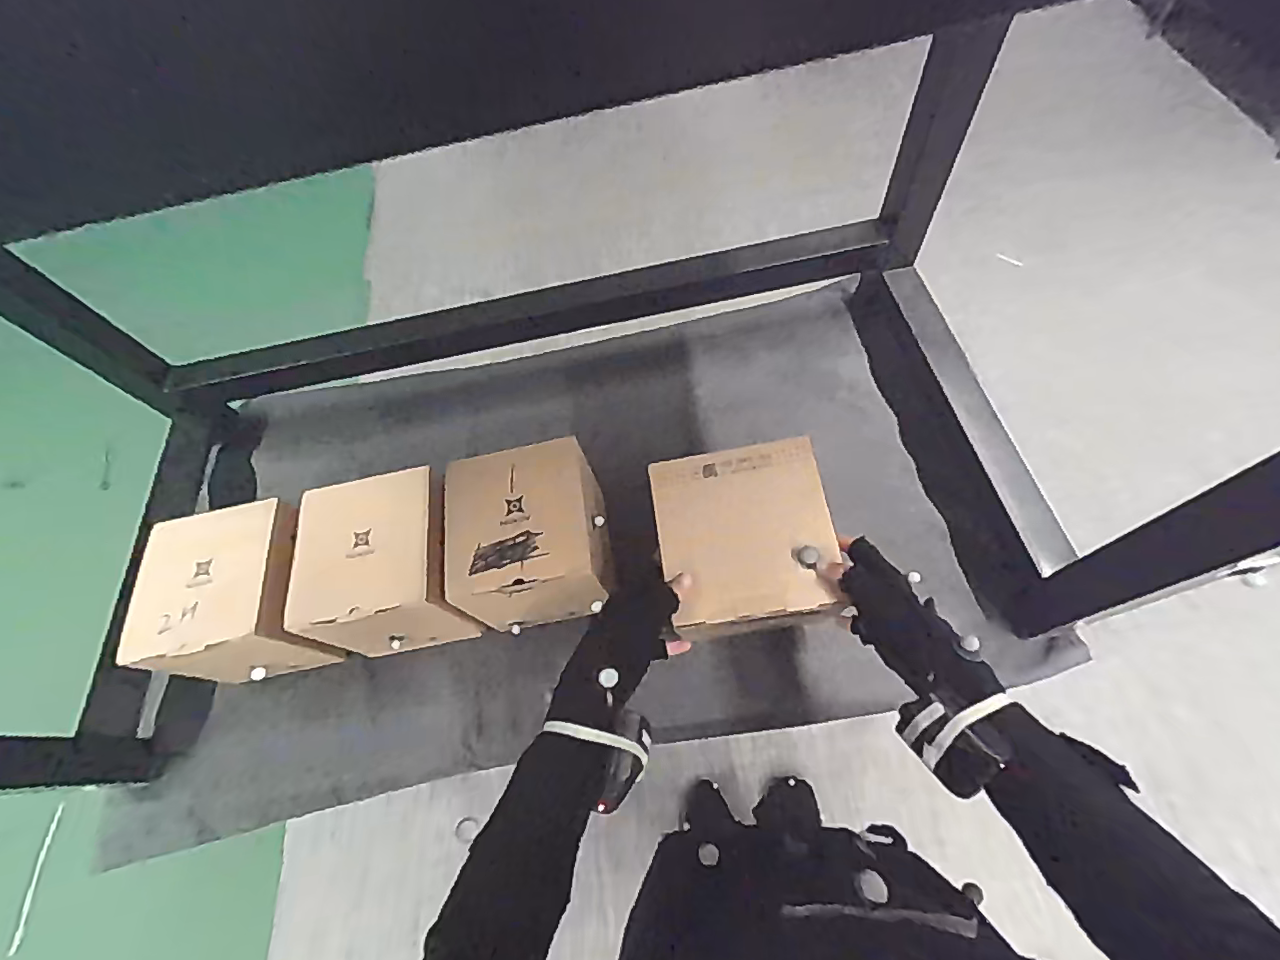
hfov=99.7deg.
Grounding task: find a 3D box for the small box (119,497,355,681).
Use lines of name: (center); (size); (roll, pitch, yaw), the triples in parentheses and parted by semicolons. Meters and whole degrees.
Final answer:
small box: (-0.500, 0.148, 0.705); (0.168, 0.176, 0.179); (-12, 62, 3)
